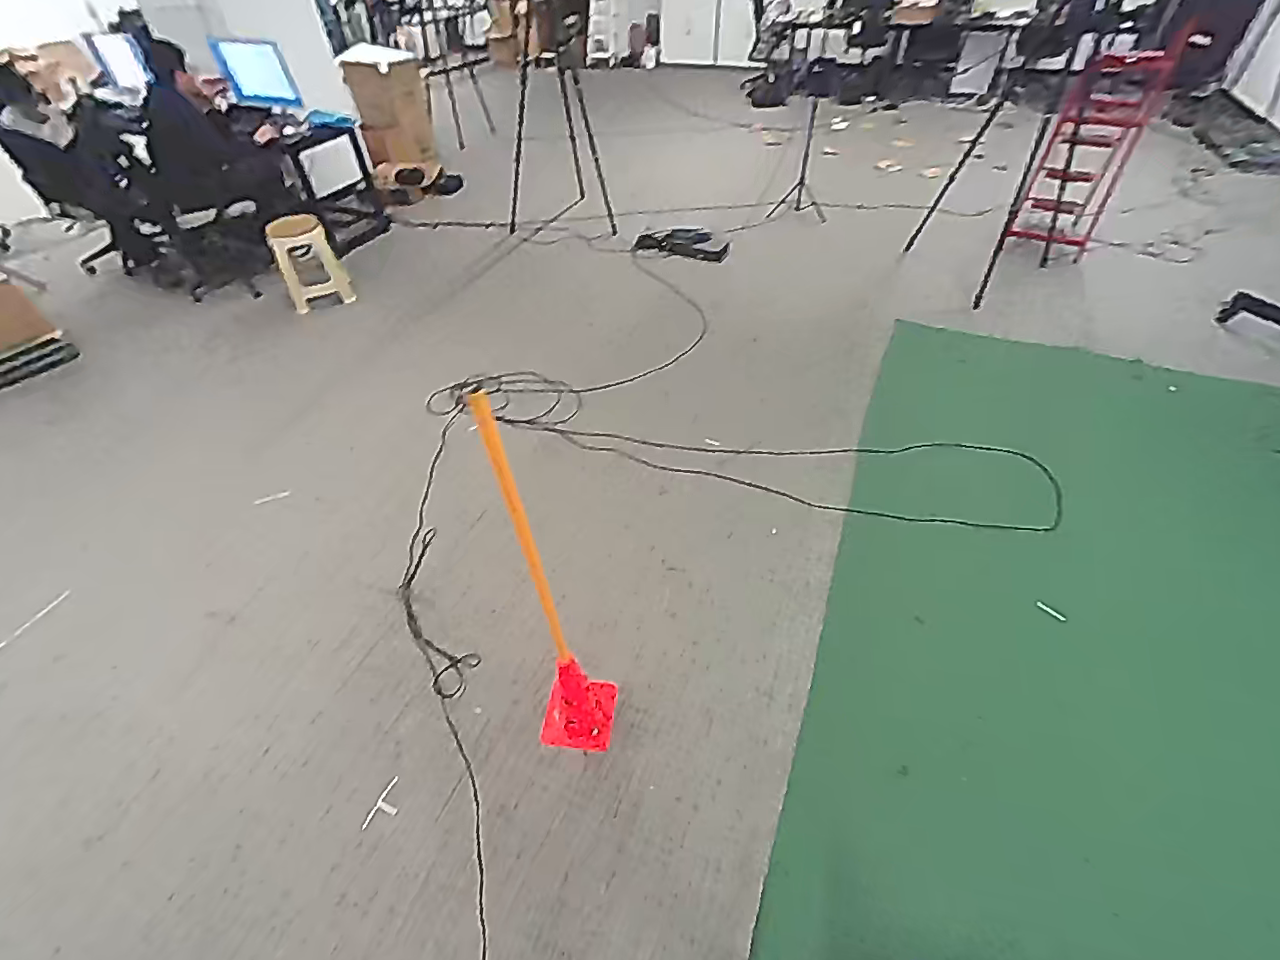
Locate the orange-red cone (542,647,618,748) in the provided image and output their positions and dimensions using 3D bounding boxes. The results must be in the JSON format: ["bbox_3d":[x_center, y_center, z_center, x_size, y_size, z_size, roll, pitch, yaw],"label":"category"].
[{"bbox_3d":[-0.177,0.554,1.469,0.198,0.360,0.199,6,45,7],"label":"orange-red cone"}]
